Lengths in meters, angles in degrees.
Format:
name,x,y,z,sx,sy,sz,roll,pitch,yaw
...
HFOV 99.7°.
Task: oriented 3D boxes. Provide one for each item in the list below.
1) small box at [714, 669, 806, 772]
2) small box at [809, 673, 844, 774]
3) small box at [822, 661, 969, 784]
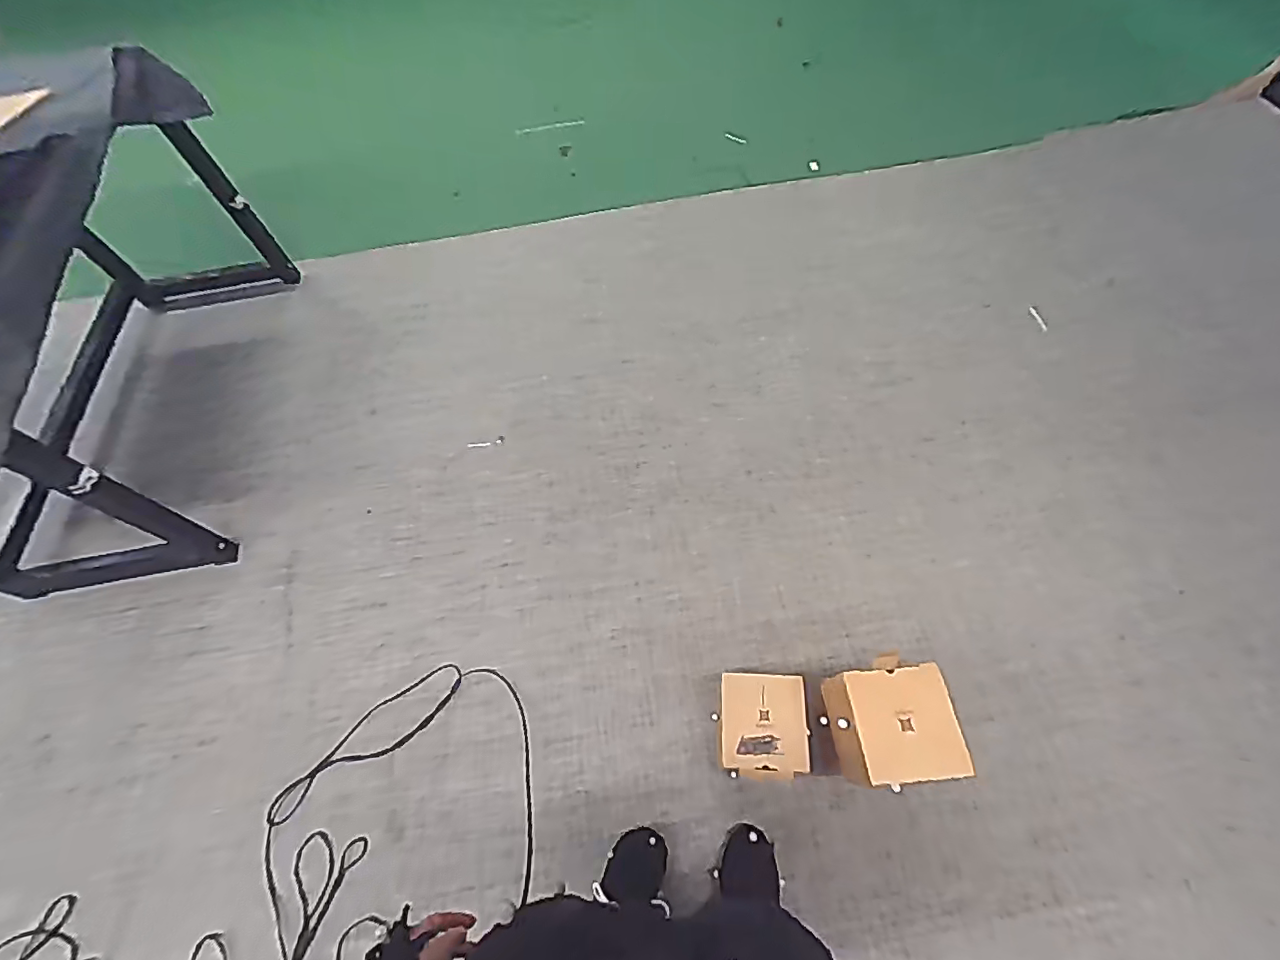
name,x,y,z,sx,sy,sz,roll,pitch,yaw
small box,0.243,0.505,1.128,0.168,0.176,0.179,2,60,5
small box,0.461,0.499,1.114,0.168,0.176,0.179,-6,60,1
small box,0.440,0.434,0.965,0.168,0.176,0.179,-7,61,1
